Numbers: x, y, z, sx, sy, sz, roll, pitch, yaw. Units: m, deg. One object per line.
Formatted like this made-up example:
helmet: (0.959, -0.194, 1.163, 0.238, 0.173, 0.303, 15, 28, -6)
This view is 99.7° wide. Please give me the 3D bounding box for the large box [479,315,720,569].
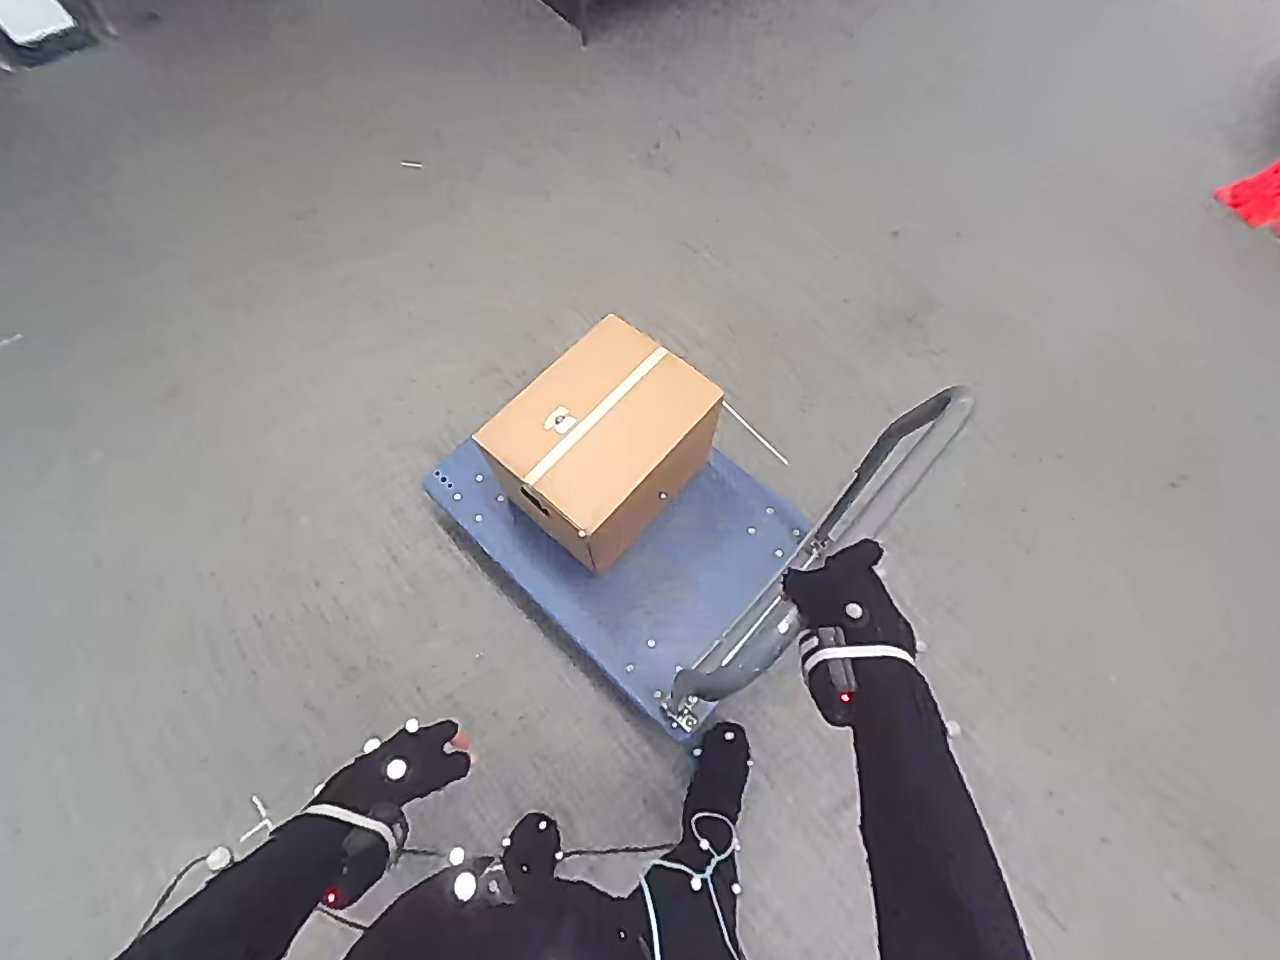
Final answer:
large box: (-0.074, -0.073, 1.208, 0.320, 0.320, 0.408, 38, 73, 16)
